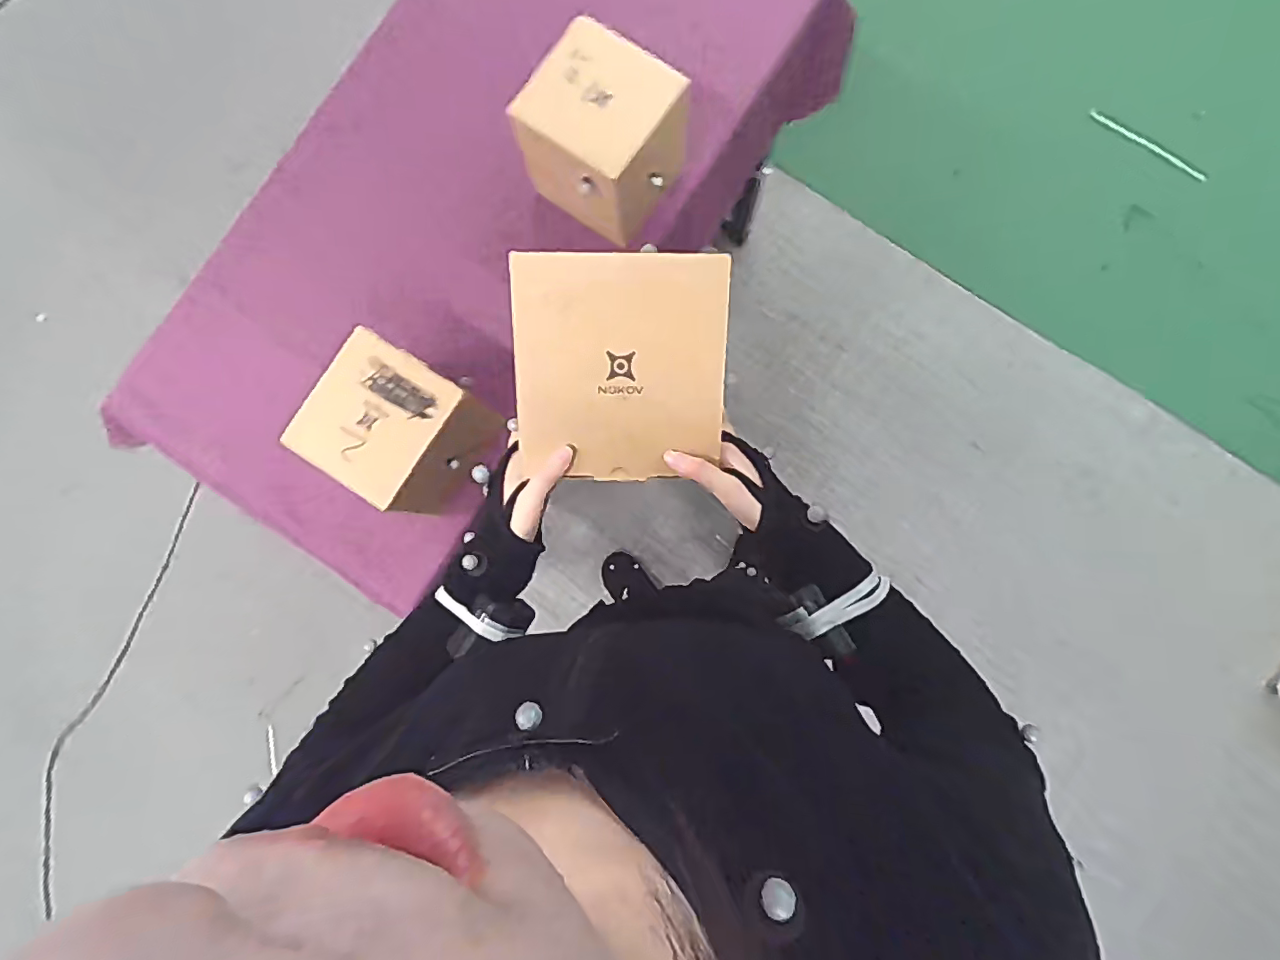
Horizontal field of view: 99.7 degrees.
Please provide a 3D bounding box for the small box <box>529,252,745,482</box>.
[{"bbox_3d":[-0.008,-0.106,0.502,0.168,0.176,0.179,1,108,-1],"label":"small box"}]

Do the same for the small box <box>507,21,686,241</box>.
[{"bbox_3d":[-0.053,-0.477,0.771,0.179,0.176,0.168,36,86,6],"label":"small box"}]
